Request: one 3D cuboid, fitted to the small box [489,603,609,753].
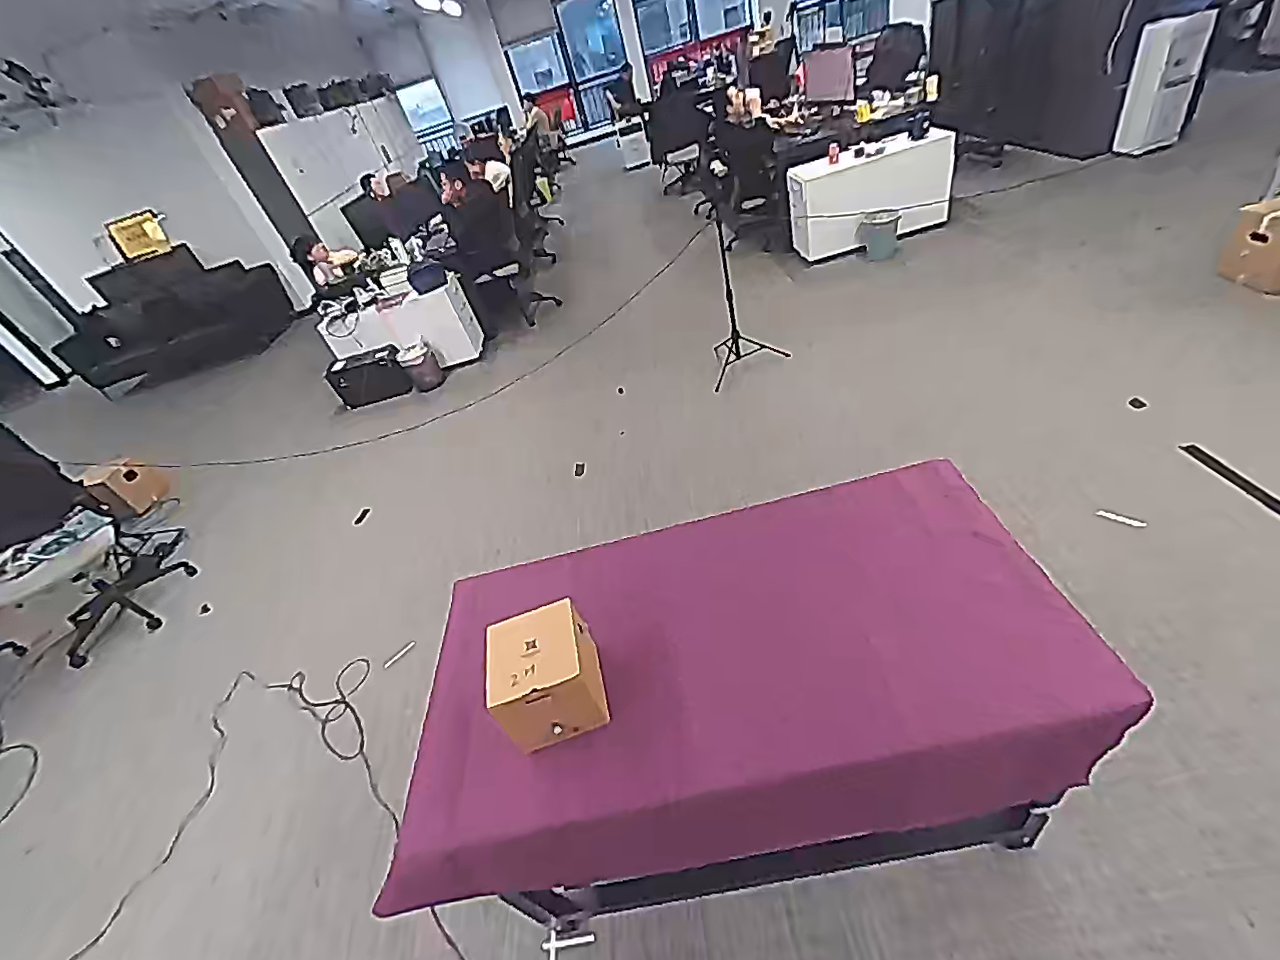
[{"bbox_3d":[-0.168,0.366,1.004,0.168,0.176,0.179,-20,38,-1],"label":"small box"}]
